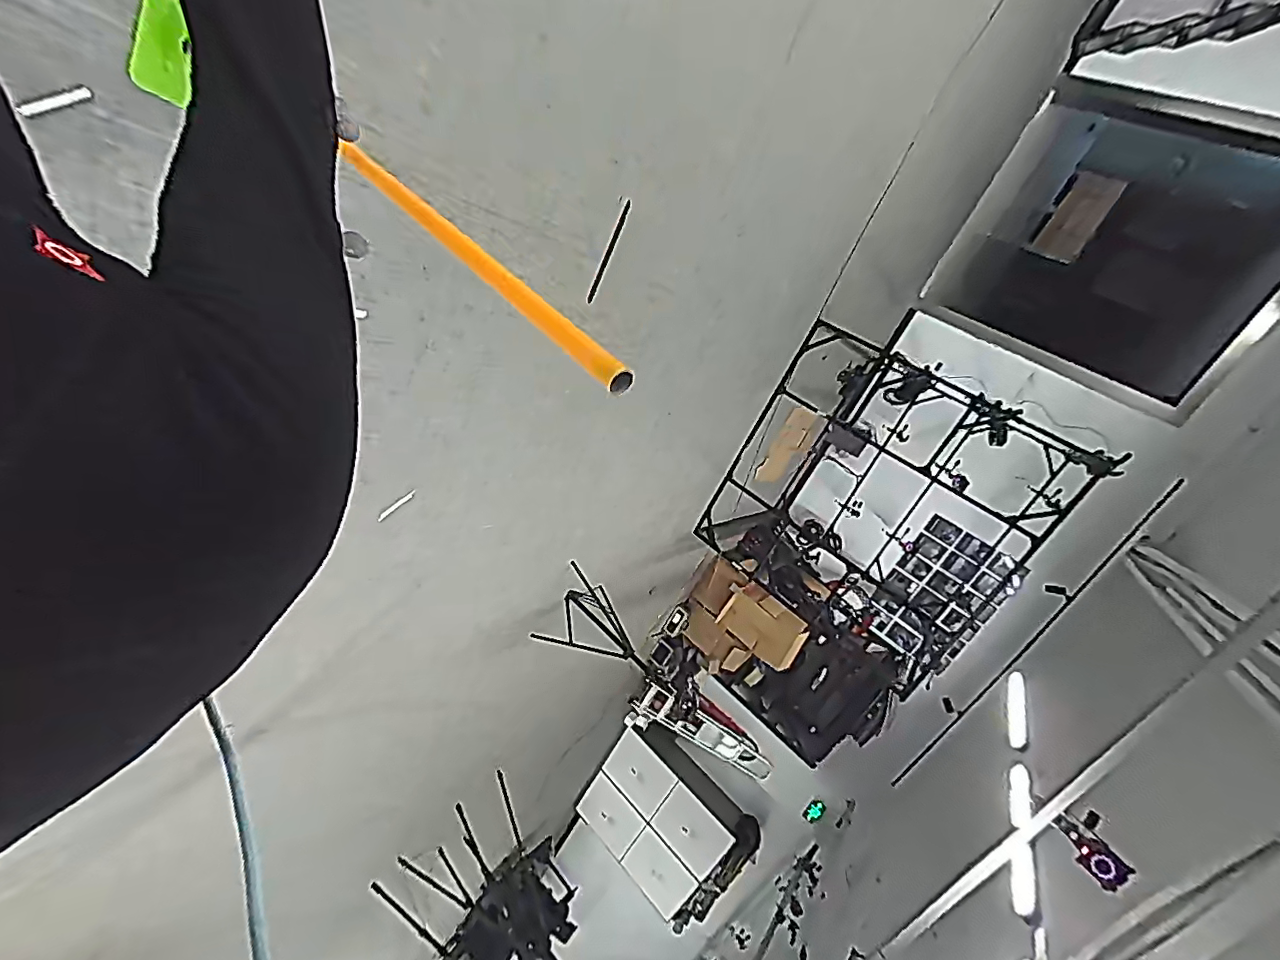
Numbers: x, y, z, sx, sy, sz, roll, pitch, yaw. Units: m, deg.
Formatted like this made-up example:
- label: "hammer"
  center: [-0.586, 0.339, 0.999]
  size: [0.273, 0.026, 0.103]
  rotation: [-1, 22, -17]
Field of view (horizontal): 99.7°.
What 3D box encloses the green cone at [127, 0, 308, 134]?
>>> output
- label: "green cone"
  center: [-0.687, -0.694, 0.936]
  size: [0.202, 0.368, 0.200]
  rotation: [-1, 125, -60]
